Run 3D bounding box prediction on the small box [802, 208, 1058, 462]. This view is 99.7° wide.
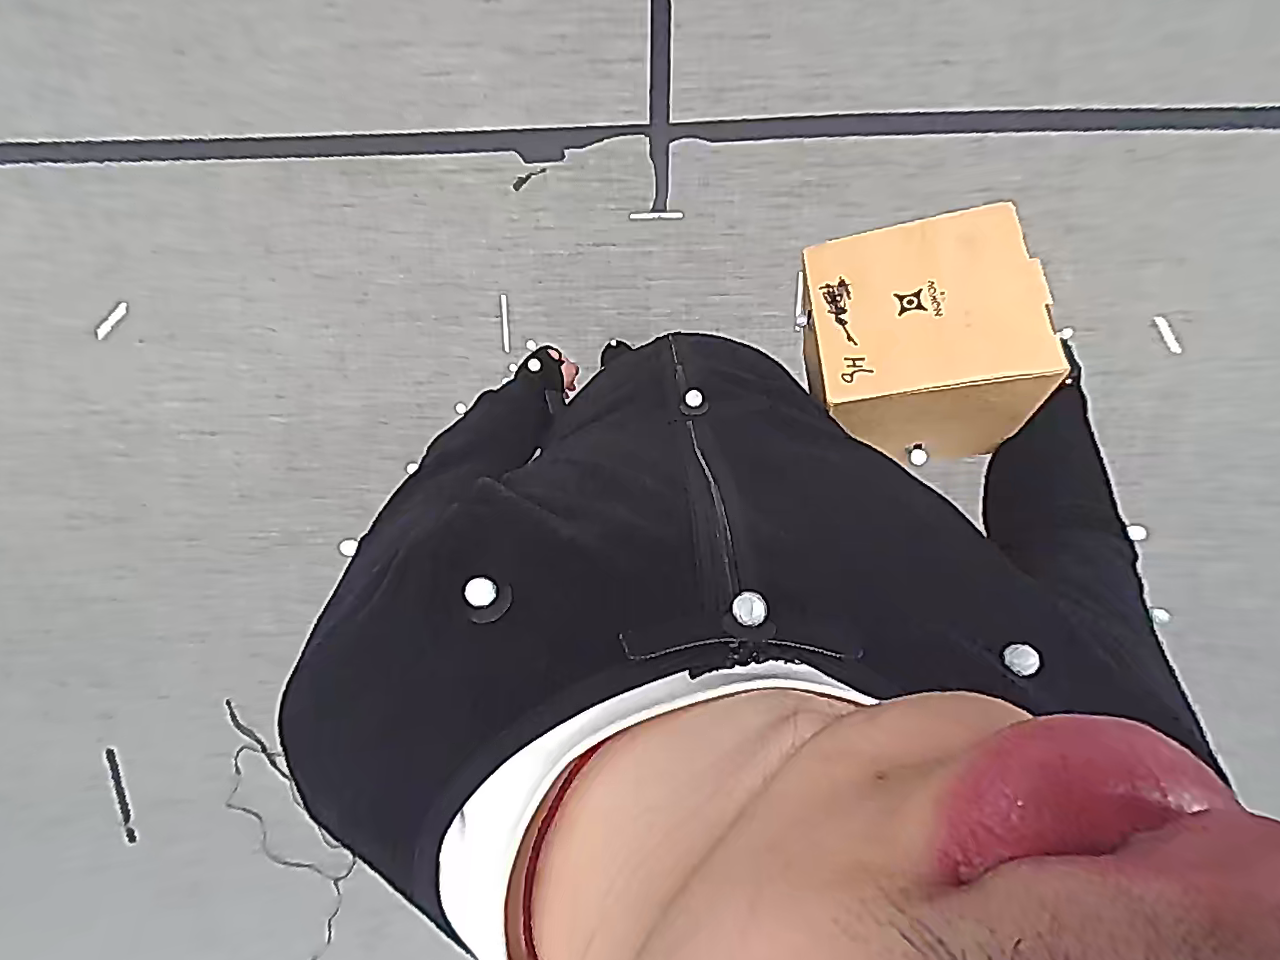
[{"bbox_3d":[0.262,-0.128,0.540,0.179,0.176,0.168,-7,69,14],"label":"small box"}]
